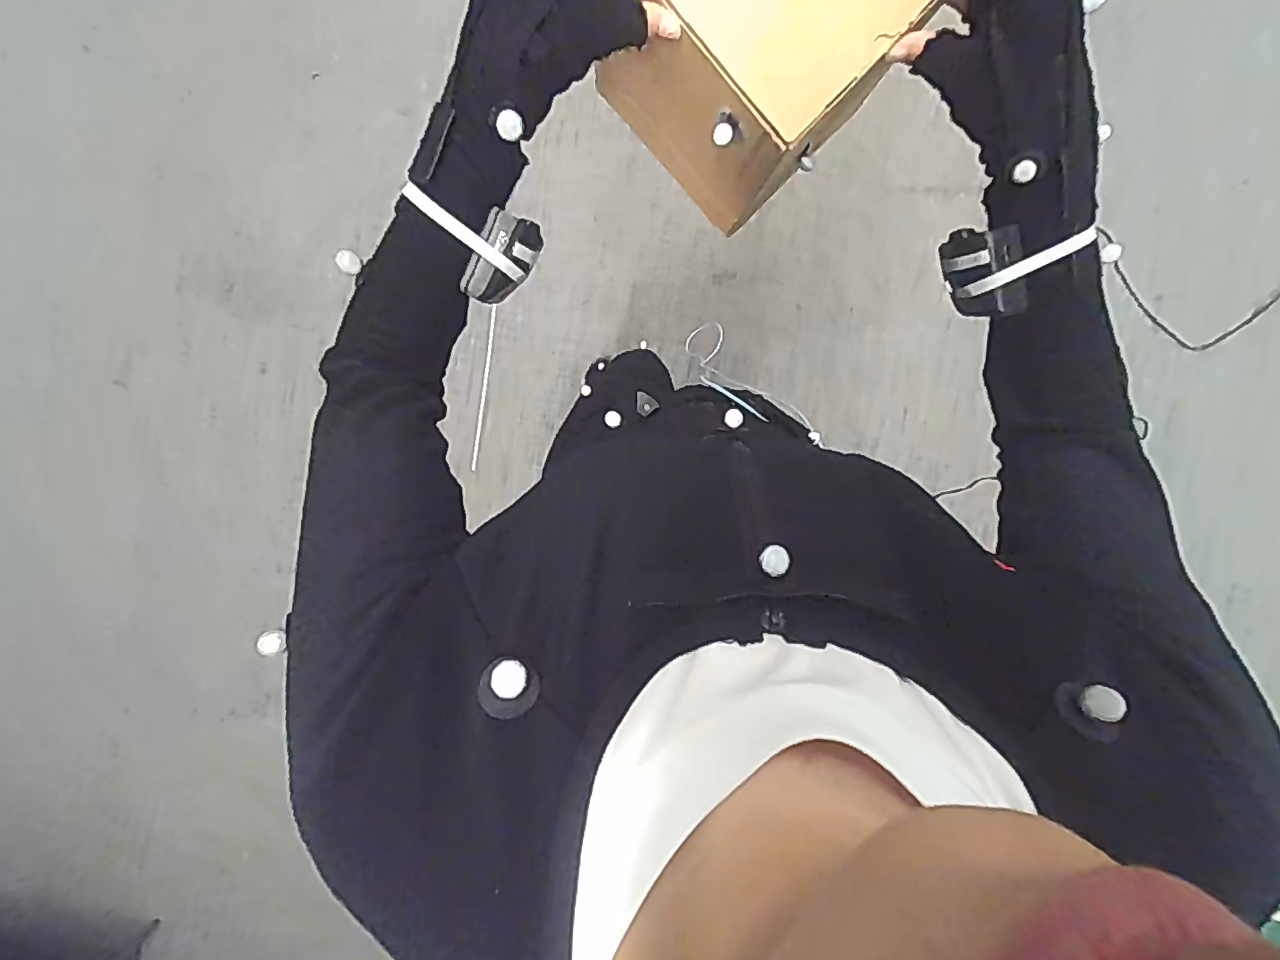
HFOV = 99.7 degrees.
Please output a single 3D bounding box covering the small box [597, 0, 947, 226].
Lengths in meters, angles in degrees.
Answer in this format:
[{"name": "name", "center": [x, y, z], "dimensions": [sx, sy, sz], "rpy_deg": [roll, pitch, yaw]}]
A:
[{"name": "small box", "center": [0.081, -0.333, 0.408], "dimensions": [0.168, 0.176, 0.179], "rpy_deg": [-43, 99, 0]}]
